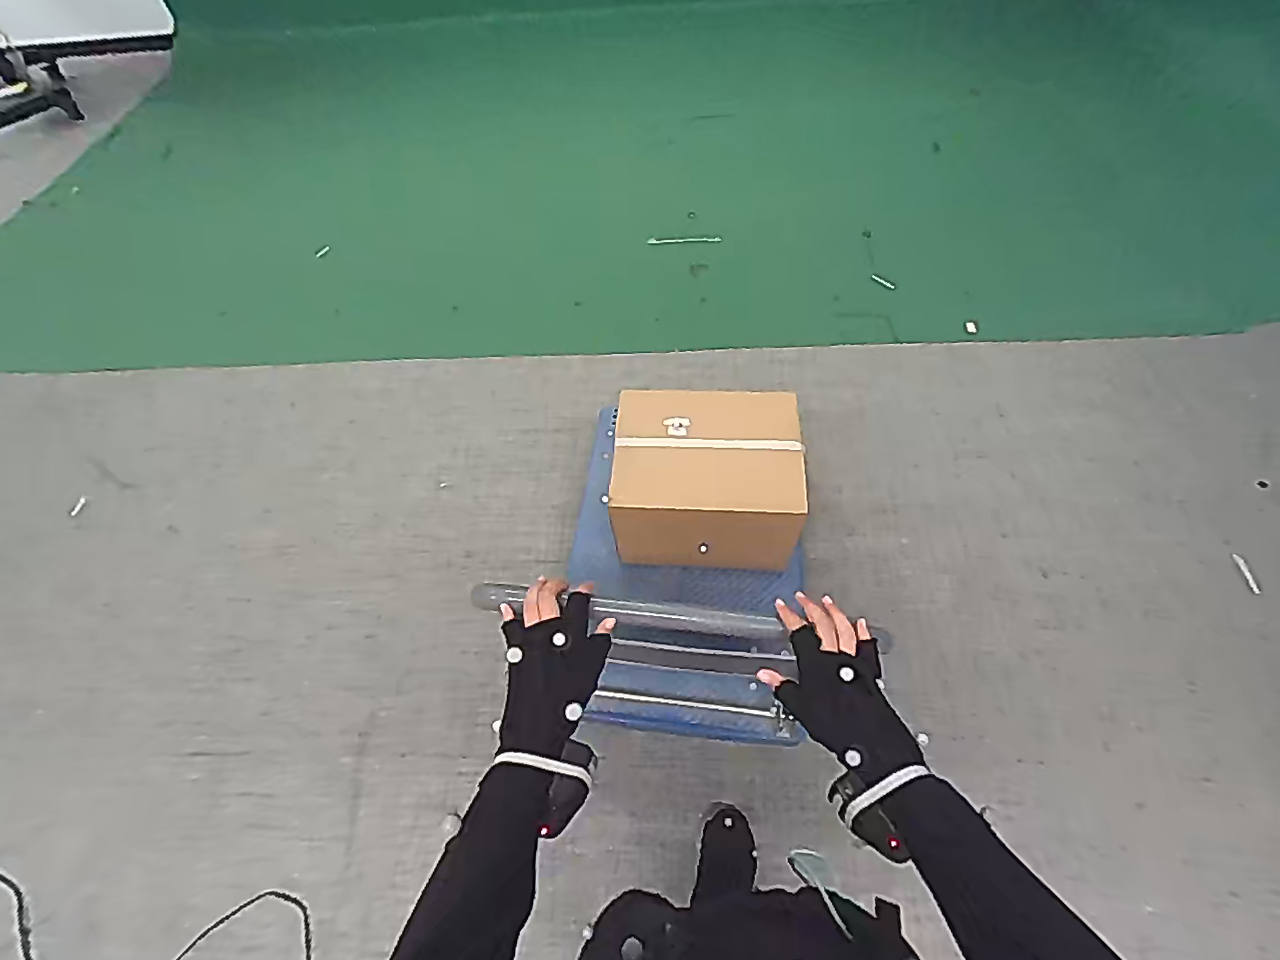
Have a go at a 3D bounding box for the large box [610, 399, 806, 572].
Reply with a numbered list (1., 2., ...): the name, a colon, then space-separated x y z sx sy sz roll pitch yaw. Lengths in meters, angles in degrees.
1. large box: 0.156 0.021 1.301 0.408 0.320 0.320 2 57 6
